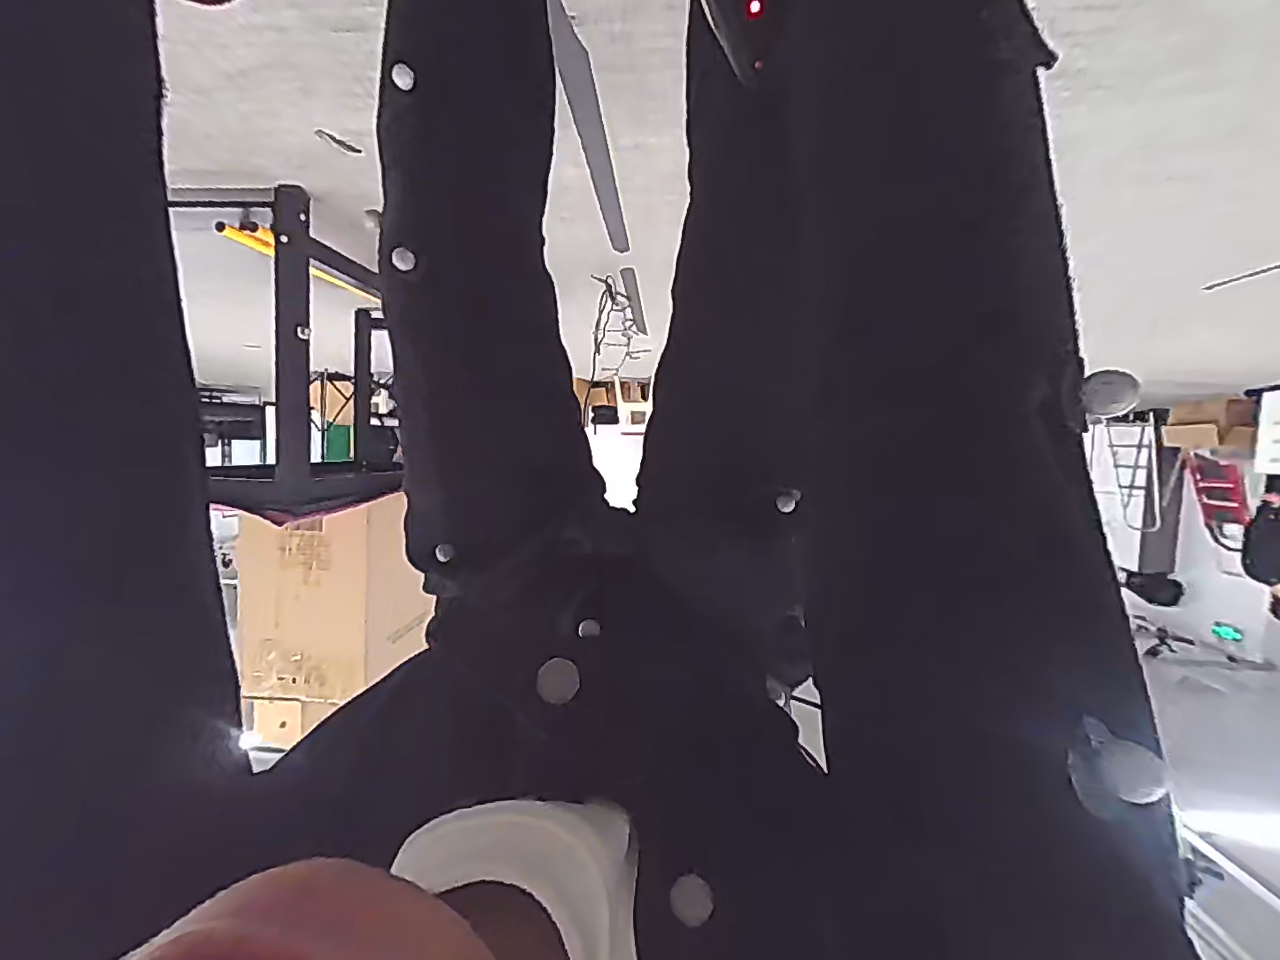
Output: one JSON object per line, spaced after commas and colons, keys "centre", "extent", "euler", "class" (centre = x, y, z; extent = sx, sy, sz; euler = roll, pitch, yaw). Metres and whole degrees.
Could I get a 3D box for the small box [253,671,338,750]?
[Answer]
{"centre": [-1.108, 0.734, 1.739], "extent": [0.168, 0.176, 0.179], "euler": [3, -174, 8], "class": "small box"}
